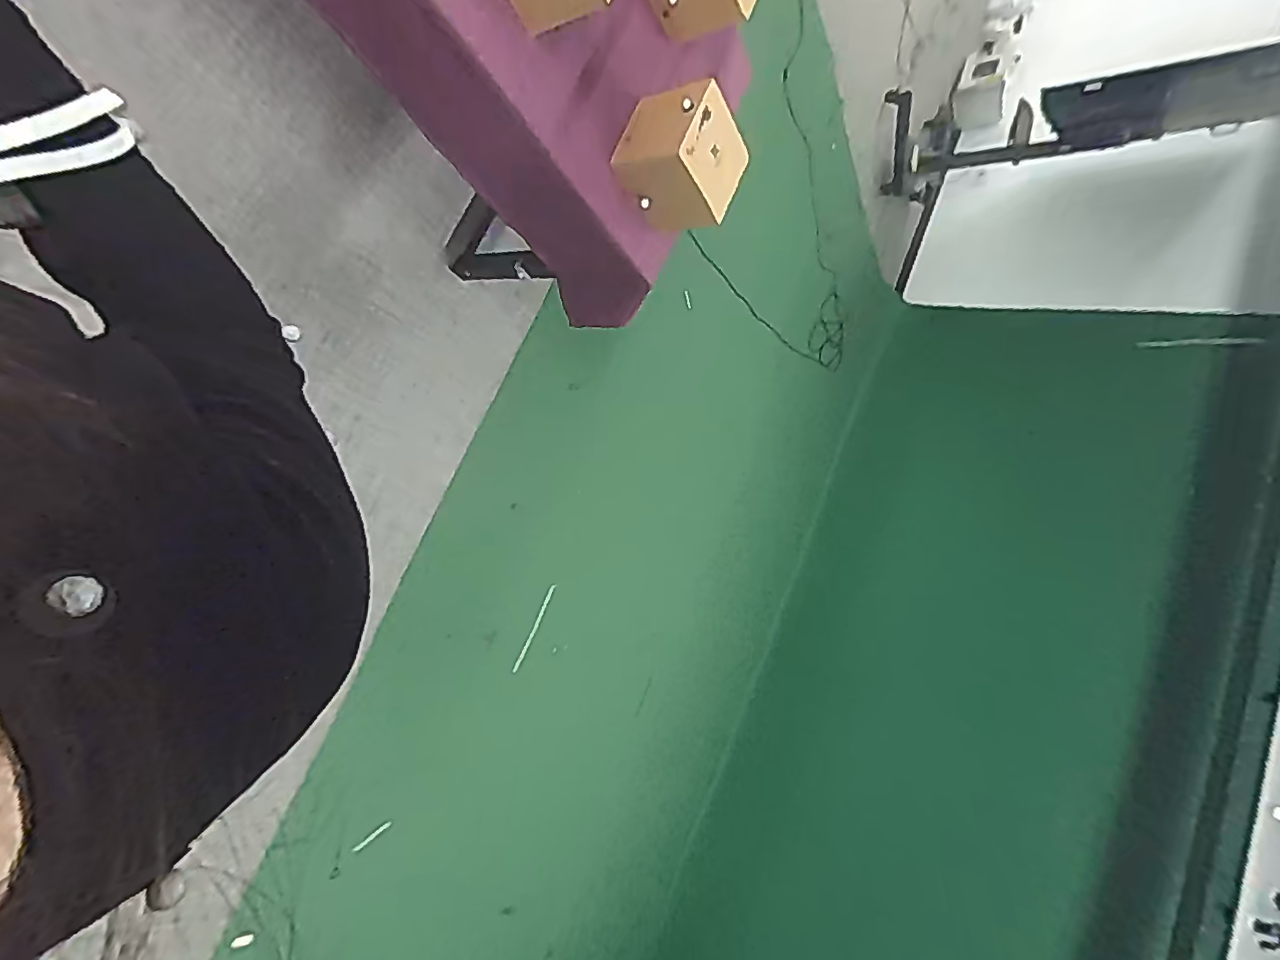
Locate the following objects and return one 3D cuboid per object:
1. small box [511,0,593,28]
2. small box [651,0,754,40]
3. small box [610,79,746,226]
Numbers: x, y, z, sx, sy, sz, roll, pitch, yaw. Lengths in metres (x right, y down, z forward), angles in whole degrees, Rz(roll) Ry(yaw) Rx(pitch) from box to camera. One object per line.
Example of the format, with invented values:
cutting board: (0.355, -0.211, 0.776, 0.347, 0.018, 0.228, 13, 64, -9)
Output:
small box: (-0.115, -0.784, 0.745, 0.179, 0.176, 0.168, 42, 70, -51)
small box: (0.116, -0.953, 0.972, 0.168, 0.176, 0.179, 33, 77, -51)
small box: (0.075, -0.617, 1.043, 0.179, 0.176, 0.168, 35, 74, -51)
